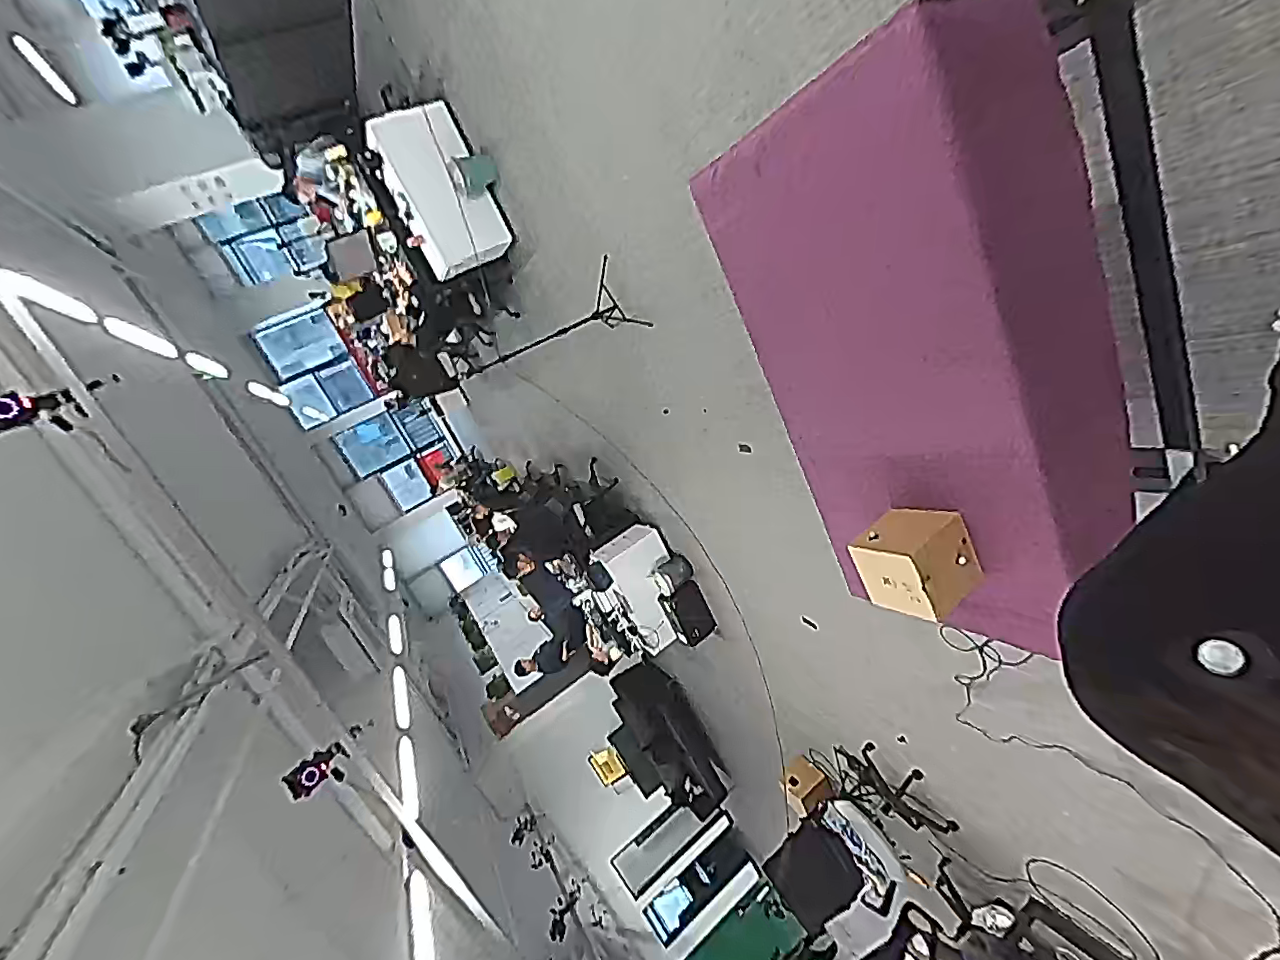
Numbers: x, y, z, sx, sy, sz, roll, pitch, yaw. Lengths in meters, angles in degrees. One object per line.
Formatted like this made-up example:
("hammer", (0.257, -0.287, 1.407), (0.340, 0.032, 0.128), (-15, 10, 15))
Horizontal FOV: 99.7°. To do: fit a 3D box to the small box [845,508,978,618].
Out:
("small box", (0.602, 0.174, 1.201), (0.168, 0.176, 0.179), (62, 159, -12))
